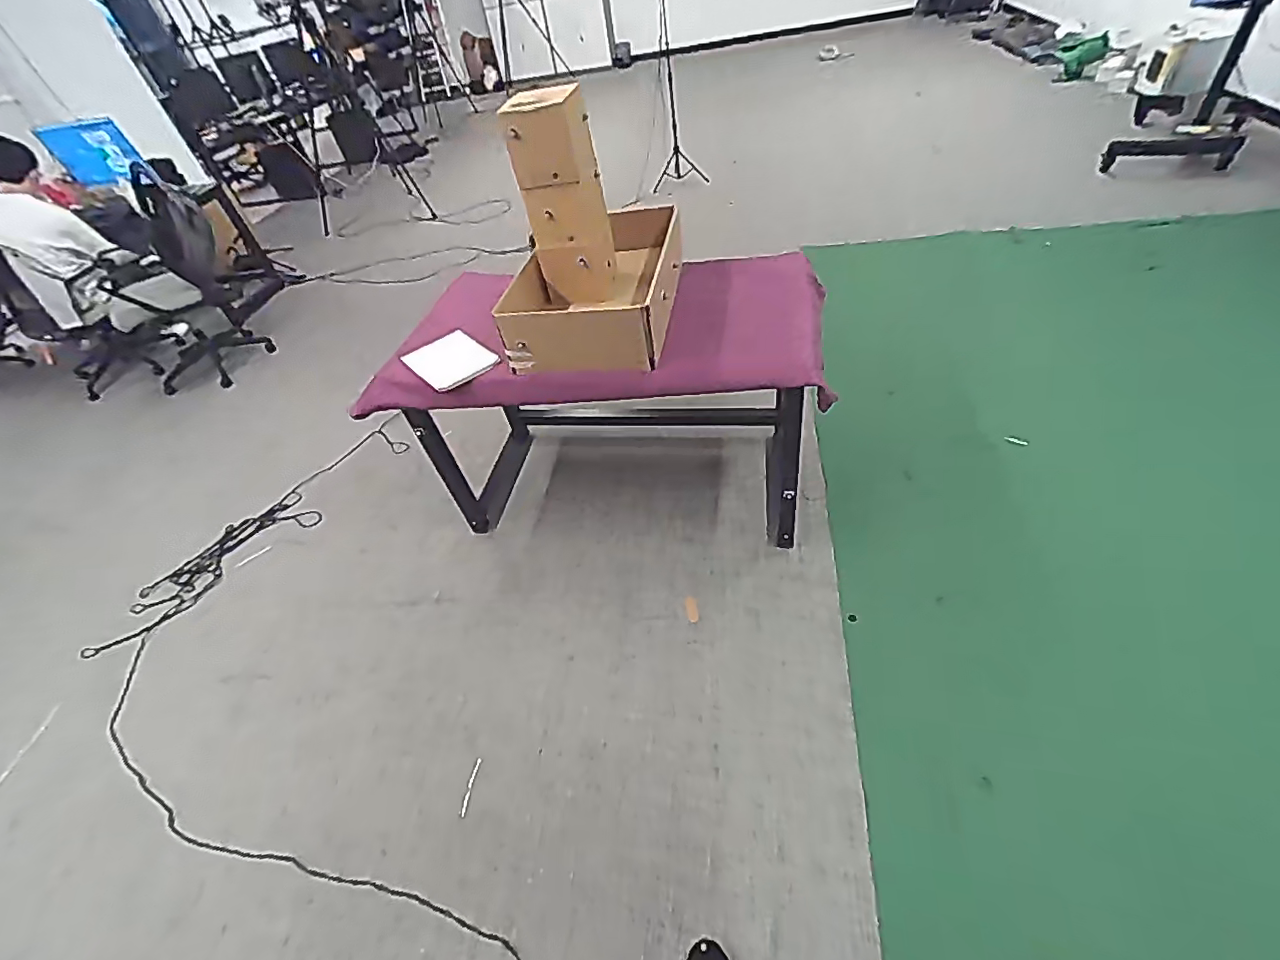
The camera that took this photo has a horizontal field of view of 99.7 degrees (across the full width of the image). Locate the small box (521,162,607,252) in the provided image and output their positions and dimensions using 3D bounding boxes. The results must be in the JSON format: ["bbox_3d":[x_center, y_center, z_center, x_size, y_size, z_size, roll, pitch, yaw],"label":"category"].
[{"bbox_3d":[-0.197,-0.739,1.477,0.168,0.176,0.179,2,48,15],"label":"small box"}]
